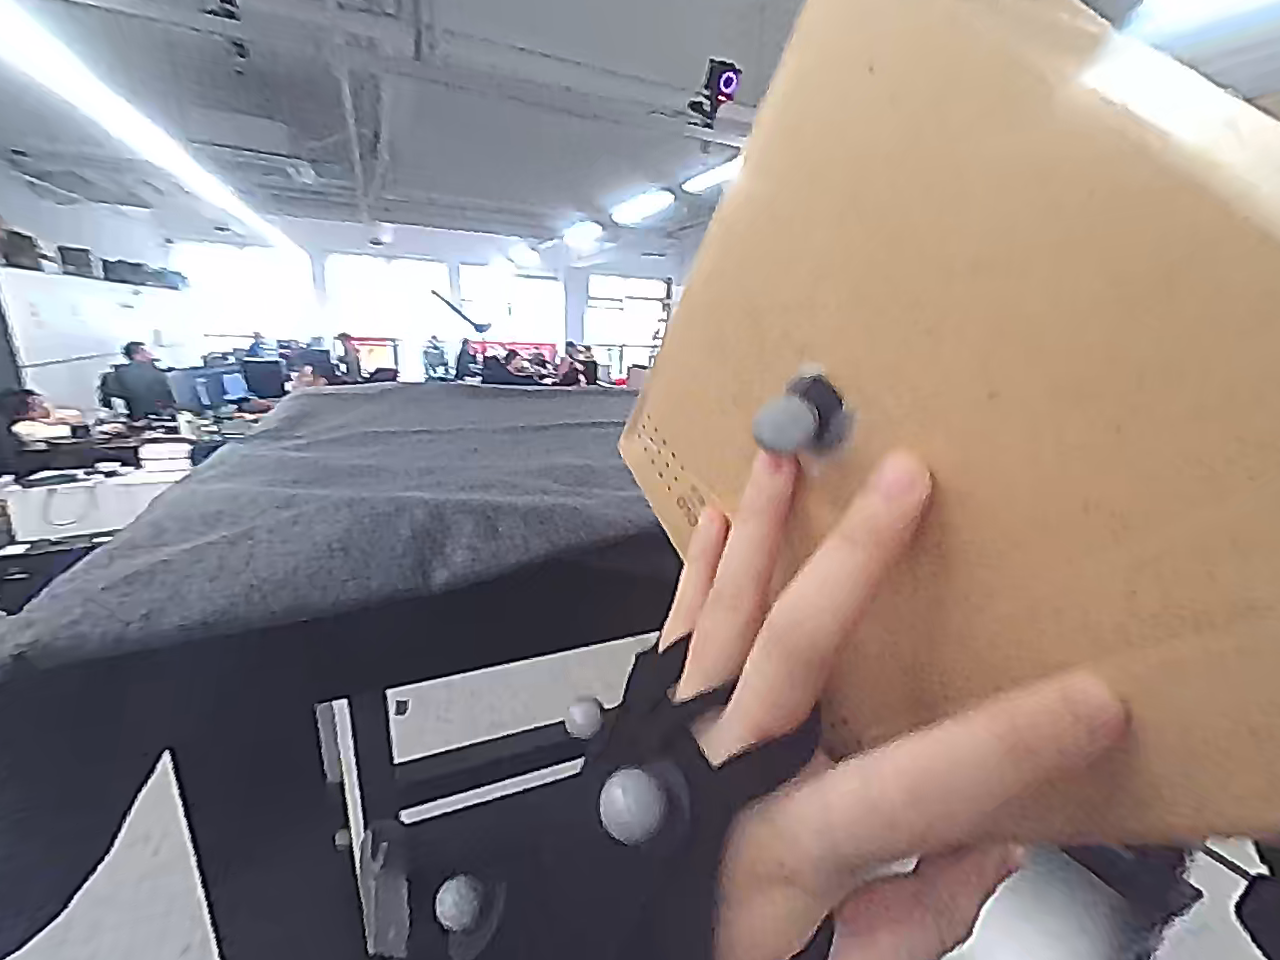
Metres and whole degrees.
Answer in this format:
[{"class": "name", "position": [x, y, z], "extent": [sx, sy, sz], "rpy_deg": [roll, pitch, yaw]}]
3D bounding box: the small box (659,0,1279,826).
[{"class": "small box", "position": [0.123, -0.012, 0.181], "extent": [0.179, 0.176, 0.168], "rpy_deg": [-18, 64, -28]}]
